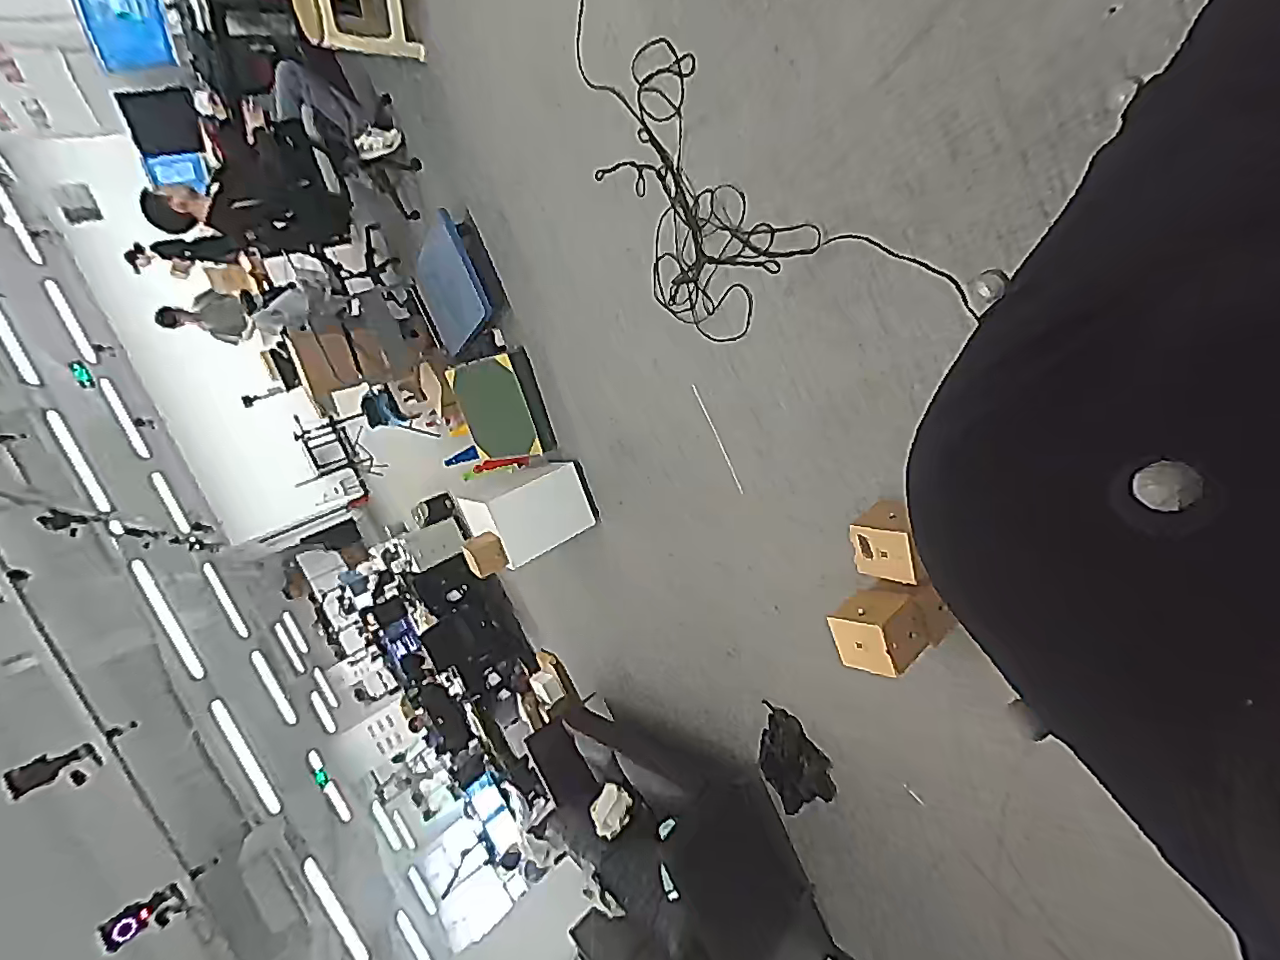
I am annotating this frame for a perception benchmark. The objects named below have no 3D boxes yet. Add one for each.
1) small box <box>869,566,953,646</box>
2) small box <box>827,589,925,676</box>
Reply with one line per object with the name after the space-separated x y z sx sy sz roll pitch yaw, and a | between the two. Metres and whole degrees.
0.811 0.371 1.623 0.179 0.176 0.168 -8 107 57 | small box
0.676 0.427 1.550 0.179 0.176 0.168 -8 106 57 | small box
